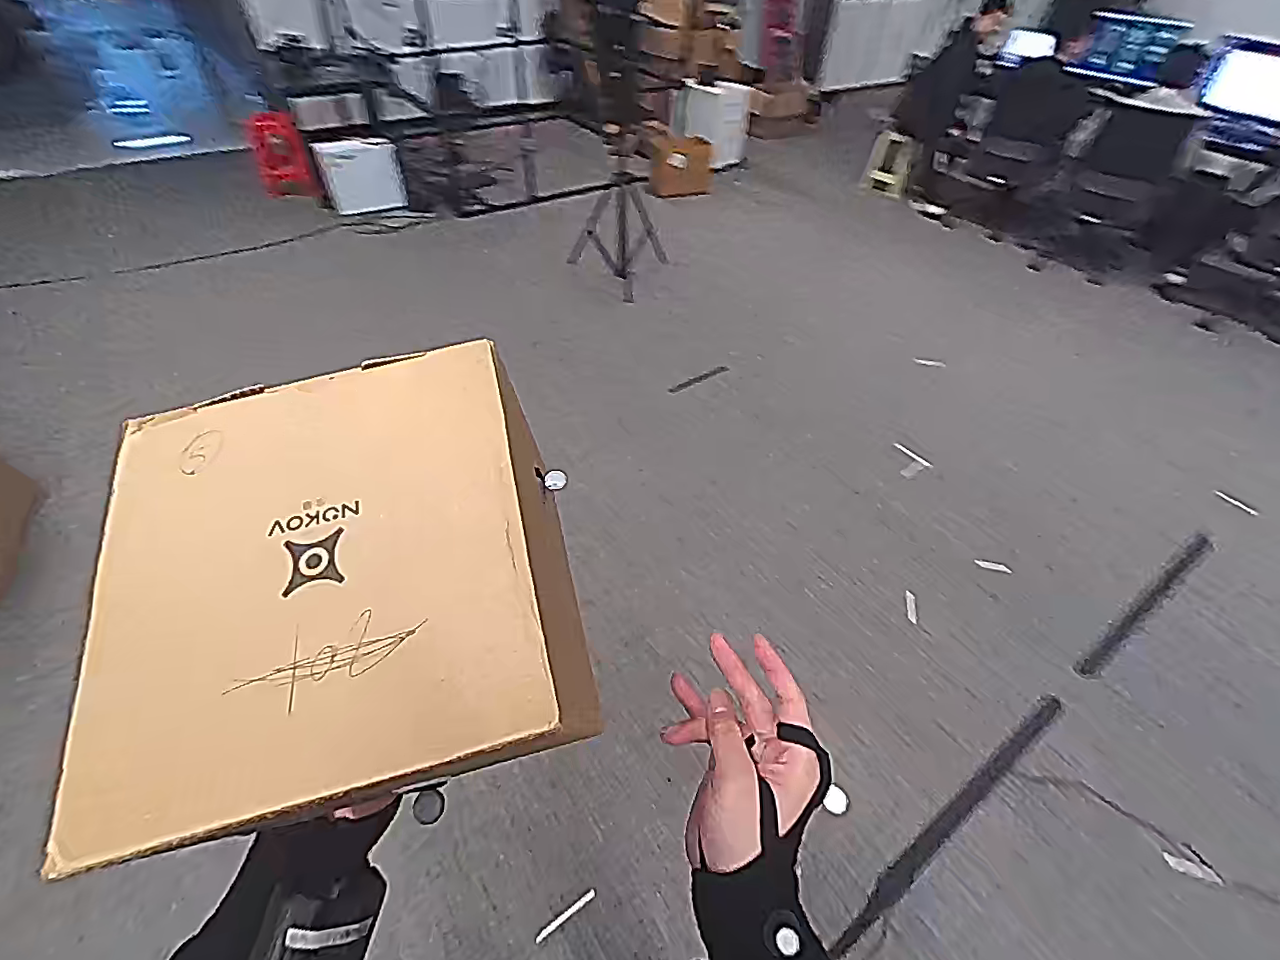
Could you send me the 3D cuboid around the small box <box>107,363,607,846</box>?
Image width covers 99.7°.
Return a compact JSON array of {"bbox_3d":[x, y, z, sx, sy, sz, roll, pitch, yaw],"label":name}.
[{"bbox_3d":[-0.120,0.068,0.299,0.168,0.176,0.179,-14,65,-4],"label":"small box"}]
